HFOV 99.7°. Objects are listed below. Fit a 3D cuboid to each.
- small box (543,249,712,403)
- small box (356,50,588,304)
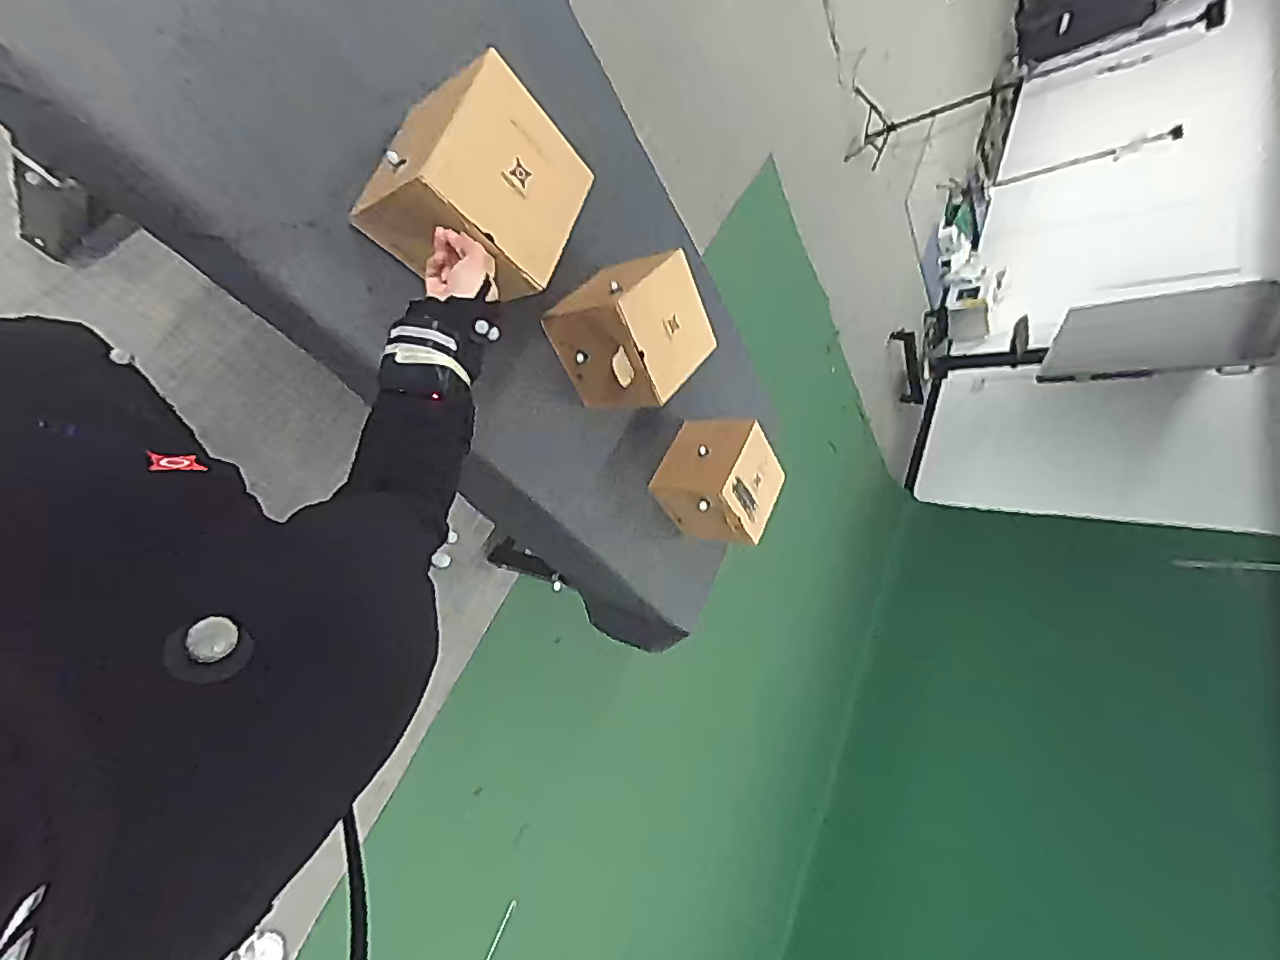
[{"bbox_3d":[-0.017,-0.237,0.852,0.179,0.176,0.168,-50,129,-32],"label":"small box"},{"bbox_3d":[-0.195,-0.328,0.628,0.168,0.176,0.179,35,68,-48],"label":"small box"}]
